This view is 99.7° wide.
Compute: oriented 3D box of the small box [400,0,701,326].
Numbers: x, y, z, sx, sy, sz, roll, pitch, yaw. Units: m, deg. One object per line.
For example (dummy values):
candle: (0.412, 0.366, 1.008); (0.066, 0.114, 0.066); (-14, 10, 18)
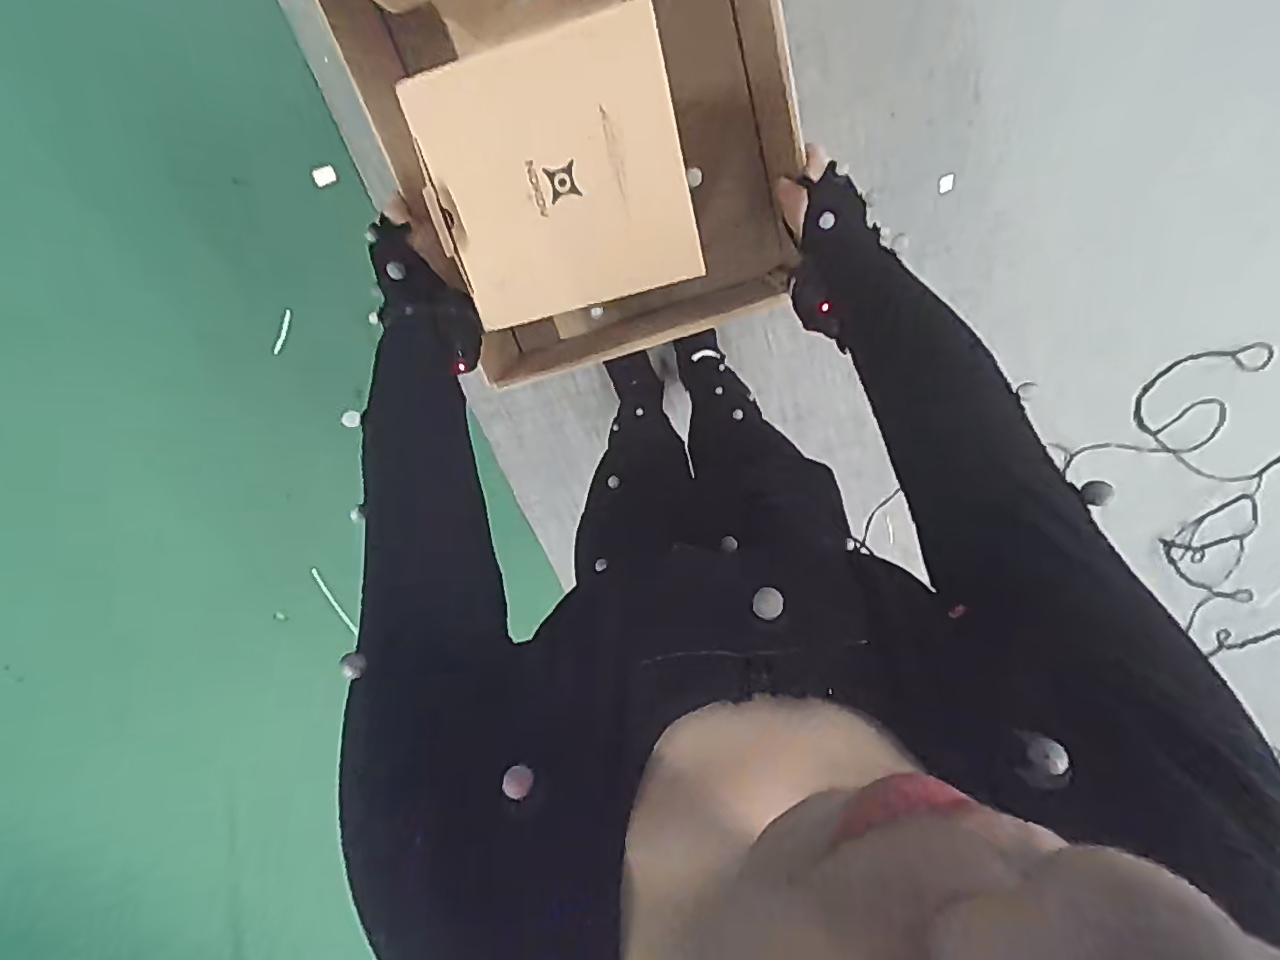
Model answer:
small box: (-0.054, -0.241, 0.448); (0.179, 0.176, 0.168); (-13, 115, 8)

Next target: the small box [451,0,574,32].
small box: (-0.121, -0.542, 0.482); (0.179, 0.176, 0.168); (-13, 118, 10)
